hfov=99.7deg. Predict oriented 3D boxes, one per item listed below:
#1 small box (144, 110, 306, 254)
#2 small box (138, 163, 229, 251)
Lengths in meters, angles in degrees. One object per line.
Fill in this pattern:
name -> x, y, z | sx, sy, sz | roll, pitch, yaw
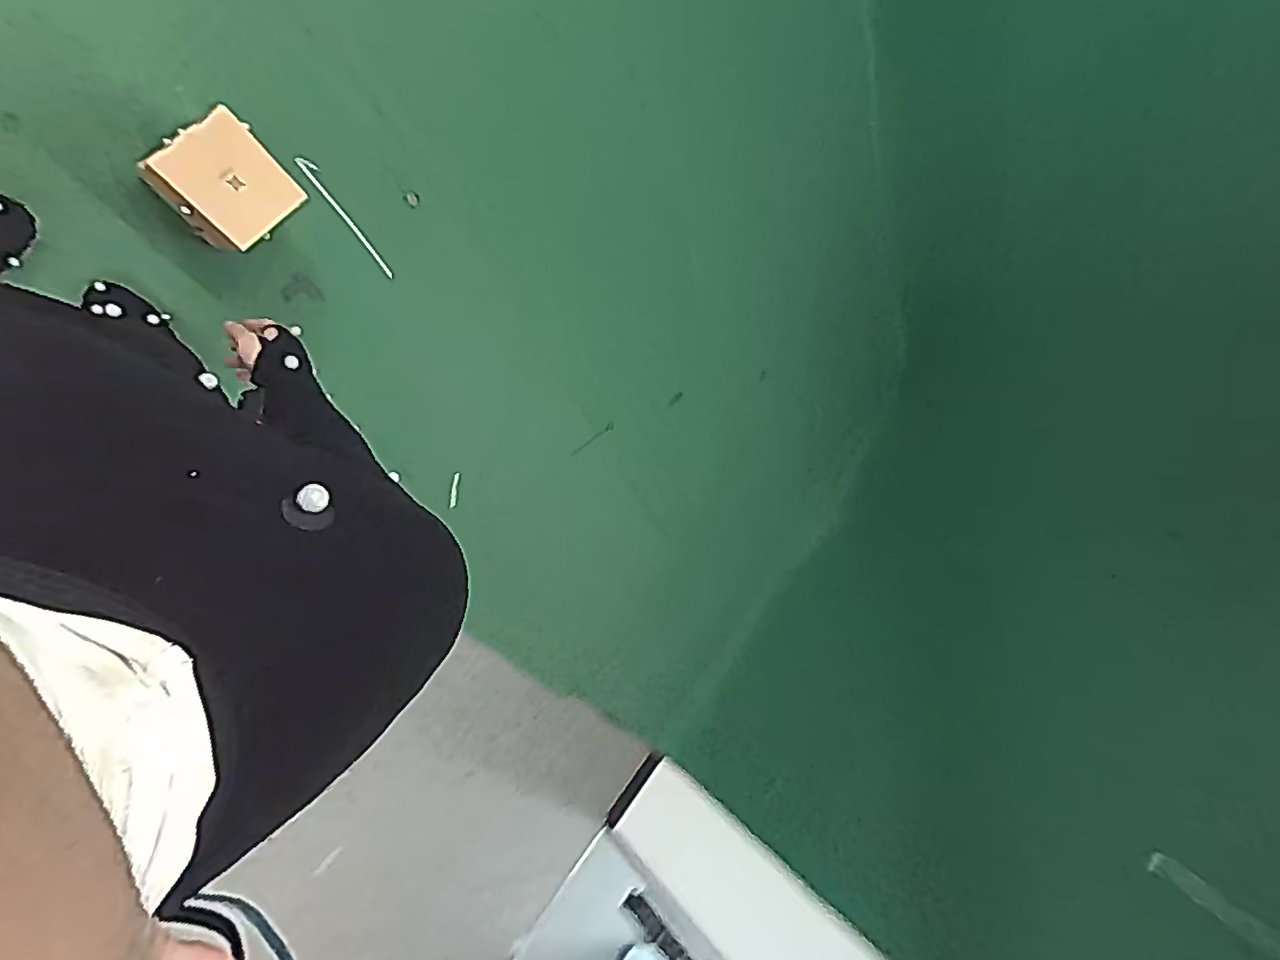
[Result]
small box -> -0.786, -0.558, 1.028 | 0.168, 0.176, 0.179 | -51, 133, -15
small box -> -0.896, -0.608, 1.136 | 0.168, 0.176, 0.179 | -49, 133, -17
